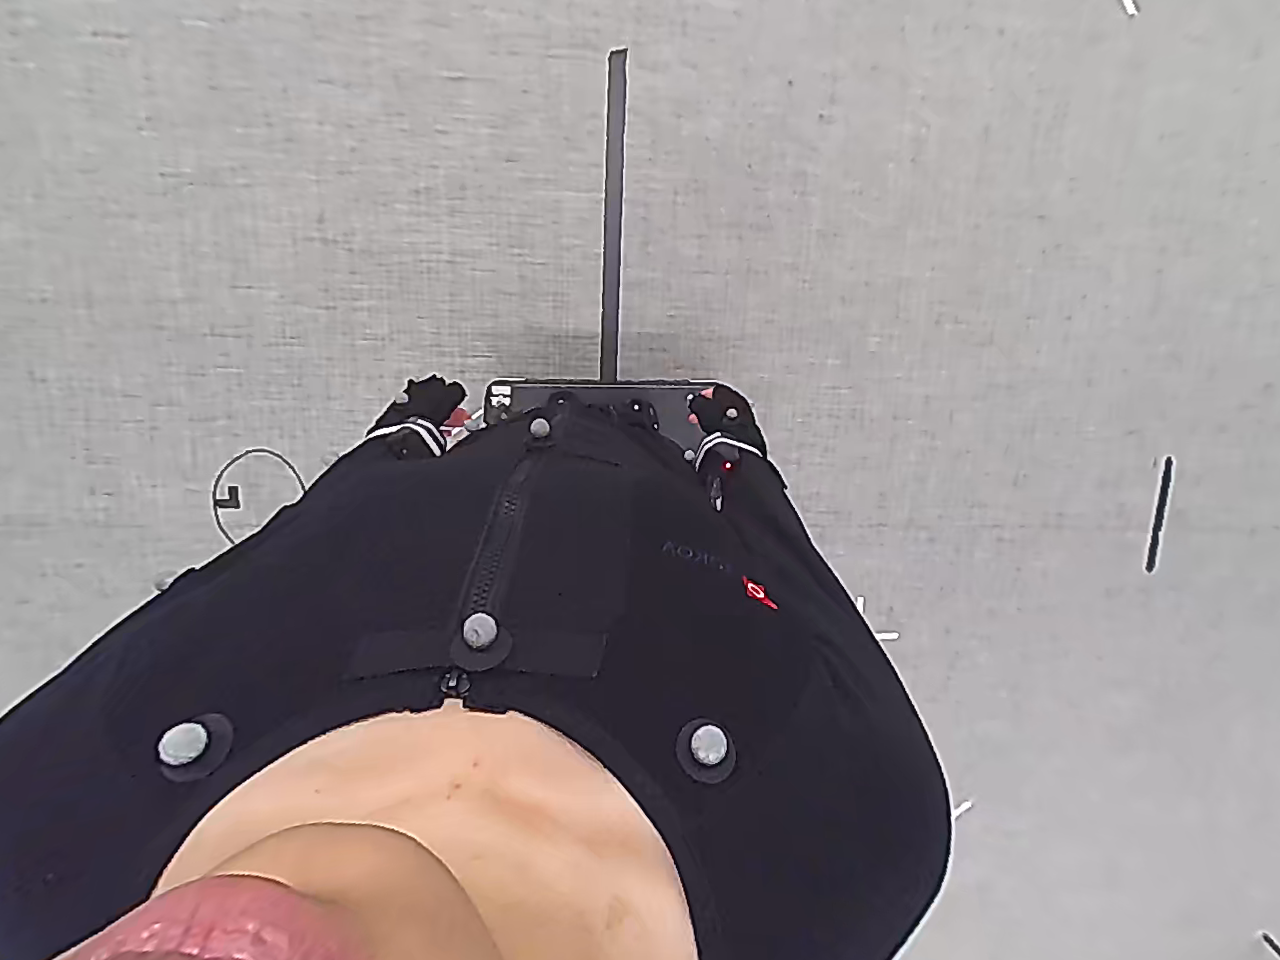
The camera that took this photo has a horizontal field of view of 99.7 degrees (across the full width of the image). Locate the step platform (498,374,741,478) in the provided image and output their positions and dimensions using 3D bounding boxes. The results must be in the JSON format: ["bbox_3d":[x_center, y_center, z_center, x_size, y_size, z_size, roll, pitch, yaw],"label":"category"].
[{"bbox_3d":[-0.056,-0.159,1.550,0.684,0.204,0.286,-1,101,-4],"label":"step platform"}]
